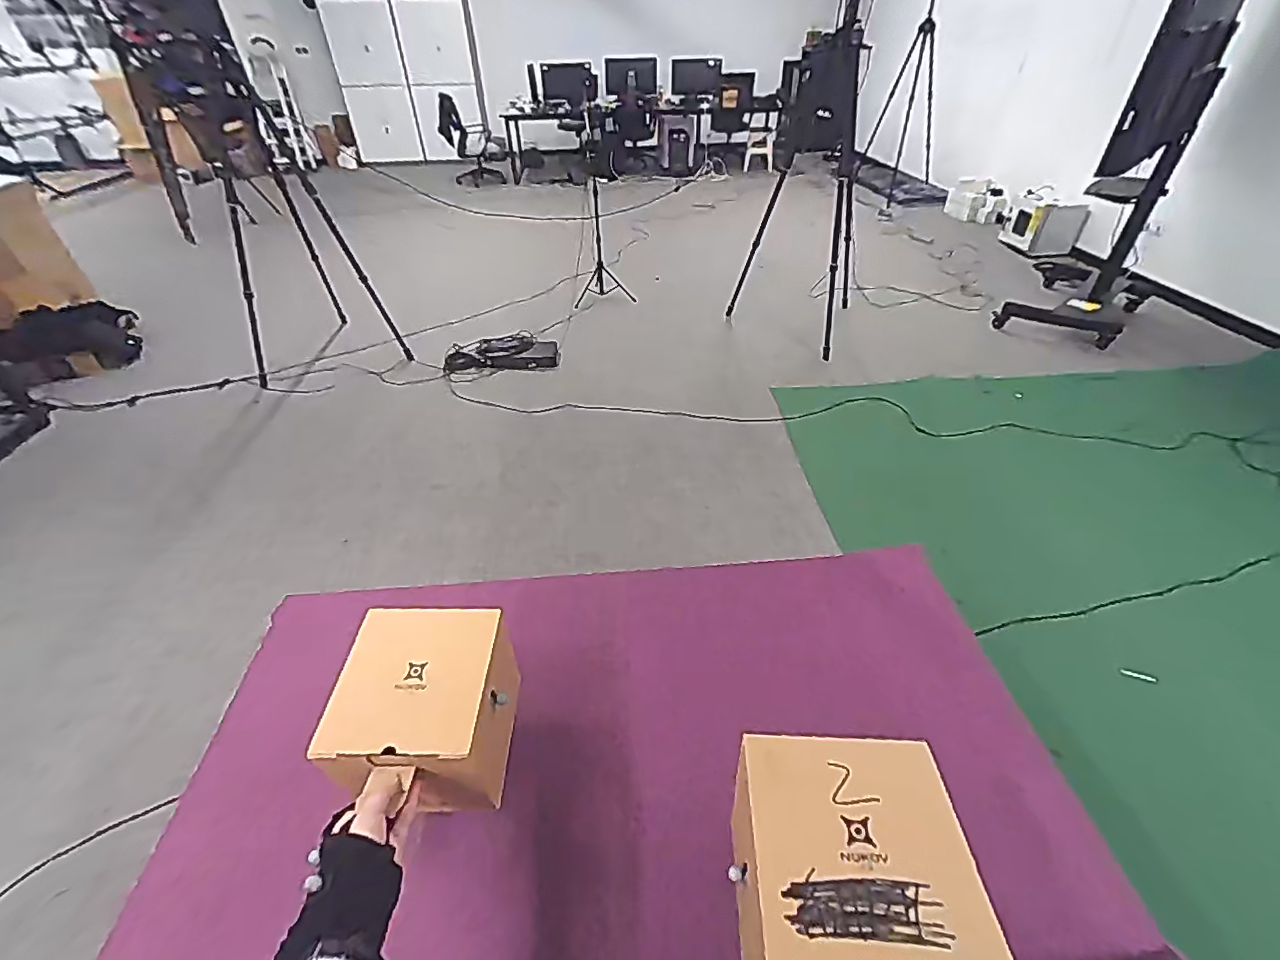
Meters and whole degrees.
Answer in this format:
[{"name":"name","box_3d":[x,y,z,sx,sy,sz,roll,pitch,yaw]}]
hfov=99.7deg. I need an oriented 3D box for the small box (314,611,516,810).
[{"name":"small box","box_3d":[-0.256,0.283,0.668,0.168,0.176,0.179,0,44,0]}]
